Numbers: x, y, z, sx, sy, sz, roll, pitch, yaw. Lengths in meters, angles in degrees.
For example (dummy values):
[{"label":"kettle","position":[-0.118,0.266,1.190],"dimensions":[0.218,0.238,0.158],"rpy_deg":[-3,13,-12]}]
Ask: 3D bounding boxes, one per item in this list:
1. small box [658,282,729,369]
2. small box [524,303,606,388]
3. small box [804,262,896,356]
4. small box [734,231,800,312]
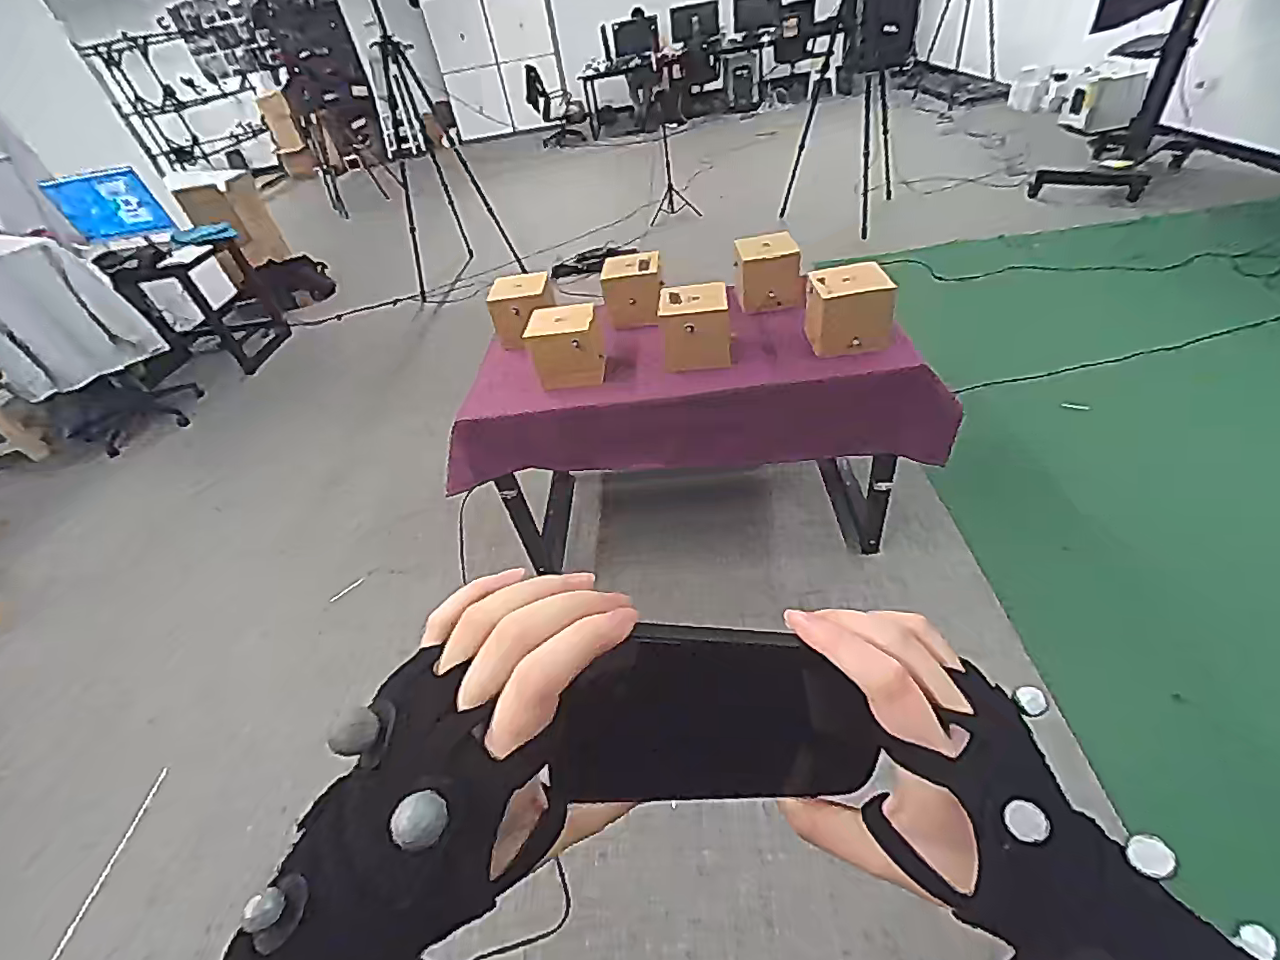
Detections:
[{"label":"small box","position":[0.148,-0.414,1.460],"dimensions":[0.179,0.176,0.168],"rpy_deg":[-3,43,9]},{"label":"small box","position":[-0.200,-0.368,1.492],"dimensions":[0.179,0.176,0.168],"rpy_deg":[-4,42,7]},{"label":"small box","position":[0.533,-0.439,1.398],"dimensions":[0.179,0.176,0.168],"rpy_deg":[-6,42,6]},{"label":"small box","position":[0.380,-0.631,1.642],"dimensions":[0.168,0.176,0.179],"rpy_deg":[-8,42,5]}]
